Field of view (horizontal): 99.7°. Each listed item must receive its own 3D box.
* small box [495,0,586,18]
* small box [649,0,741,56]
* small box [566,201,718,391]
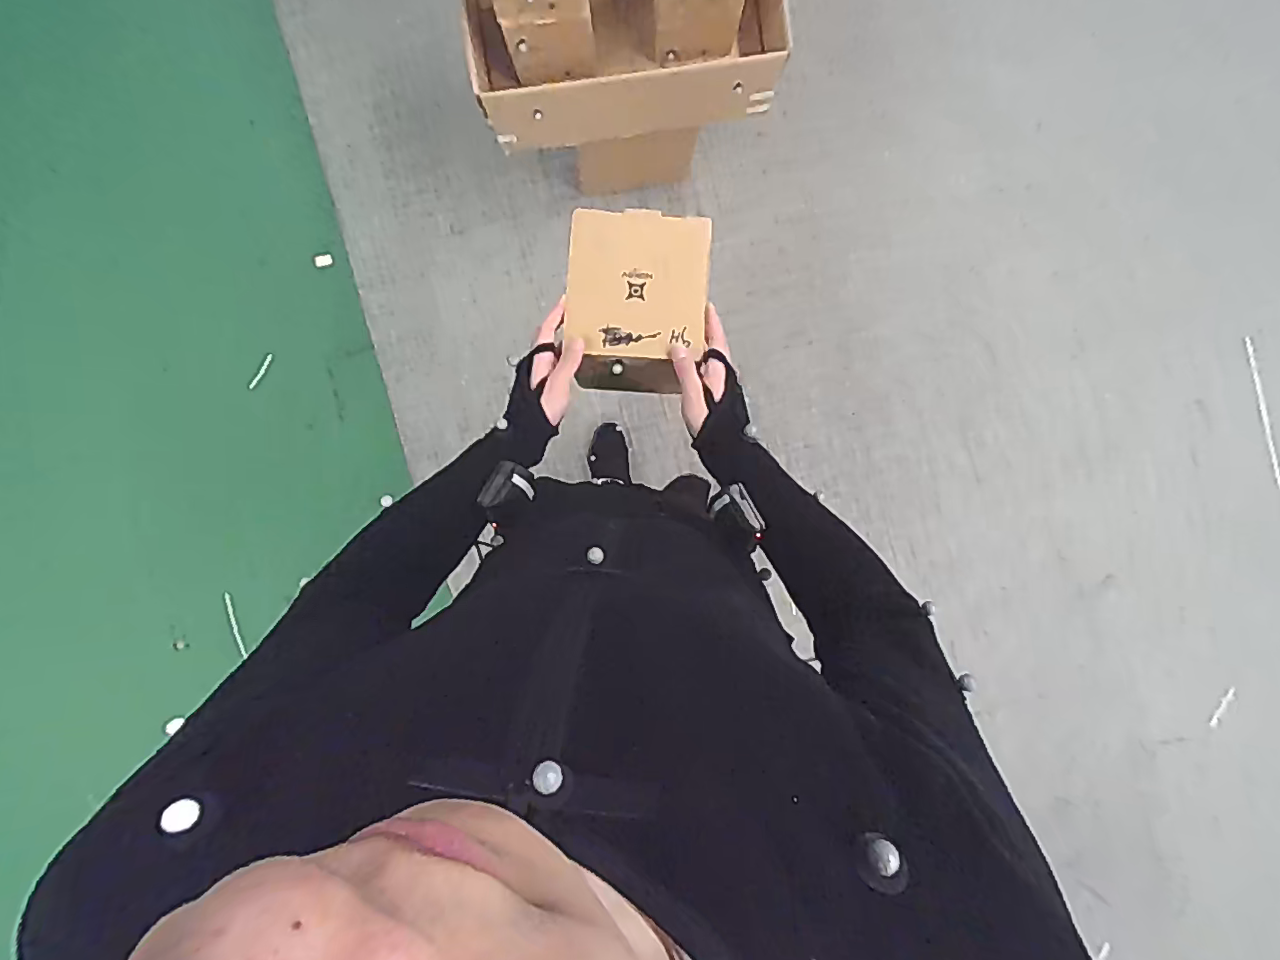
[{"bbox_3d":[-0.185,-0.926,0.898,0.168,0.176,0.179,-7,94,-1],"label":"small box"},{"bbox_3d":[0.104,-0.974,1.060,0.168,0.176,0.179,-6,93,-1],"label":"small box"},{"bbox_3d":[0.002,-0.227,0.704,0.168,0.176,0.179,5,86,1],"label":"small box"}]
